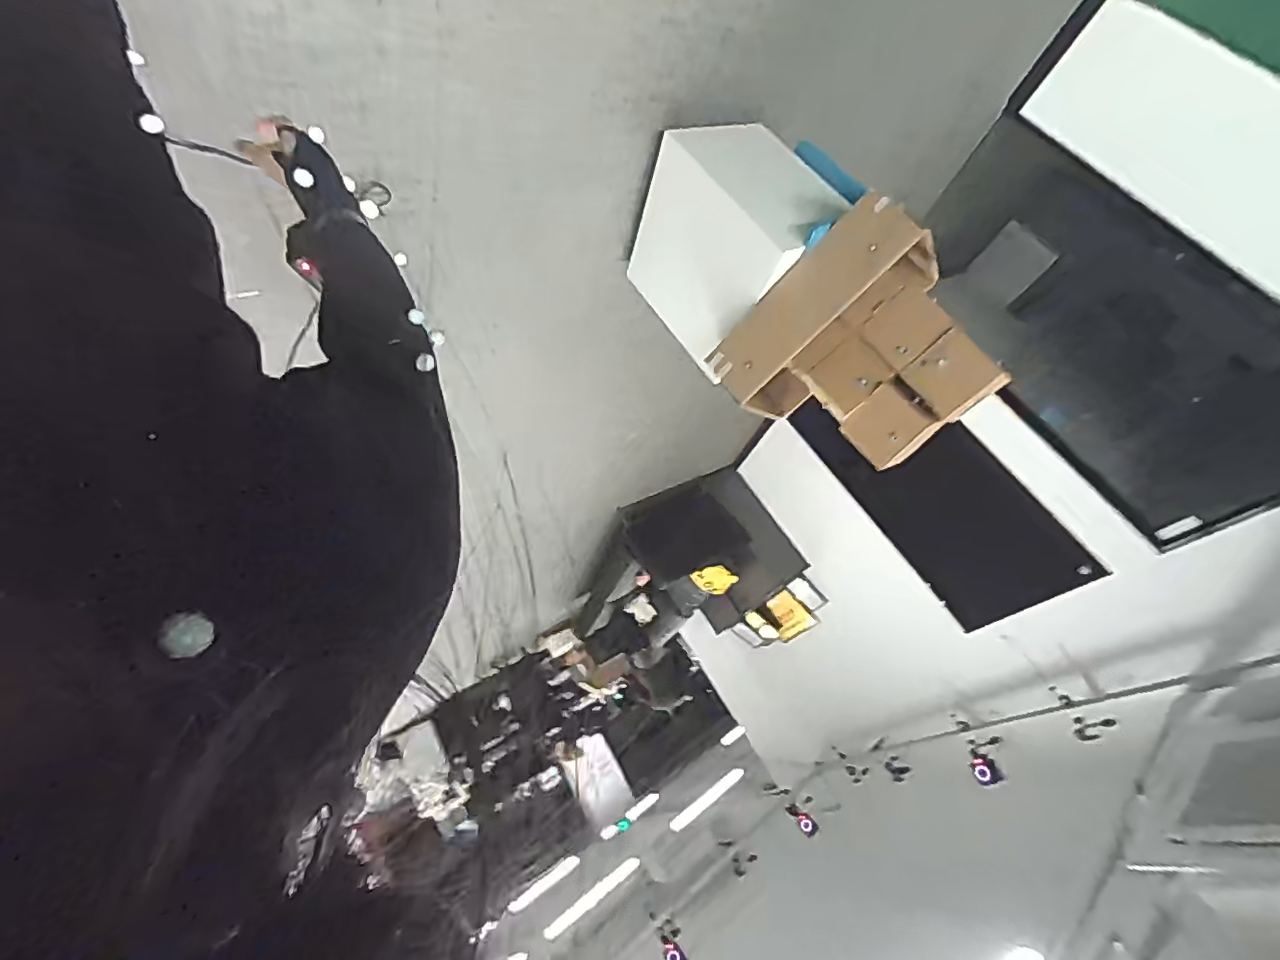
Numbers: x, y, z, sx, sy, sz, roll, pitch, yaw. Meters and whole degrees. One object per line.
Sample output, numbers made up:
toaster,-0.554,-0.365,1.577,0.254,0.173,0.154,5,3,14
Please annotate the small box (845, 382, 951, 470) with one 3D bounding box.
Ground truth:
small box,0.702,-0.155,1.483,0.168,0.176,0.179,-12,147,-46
